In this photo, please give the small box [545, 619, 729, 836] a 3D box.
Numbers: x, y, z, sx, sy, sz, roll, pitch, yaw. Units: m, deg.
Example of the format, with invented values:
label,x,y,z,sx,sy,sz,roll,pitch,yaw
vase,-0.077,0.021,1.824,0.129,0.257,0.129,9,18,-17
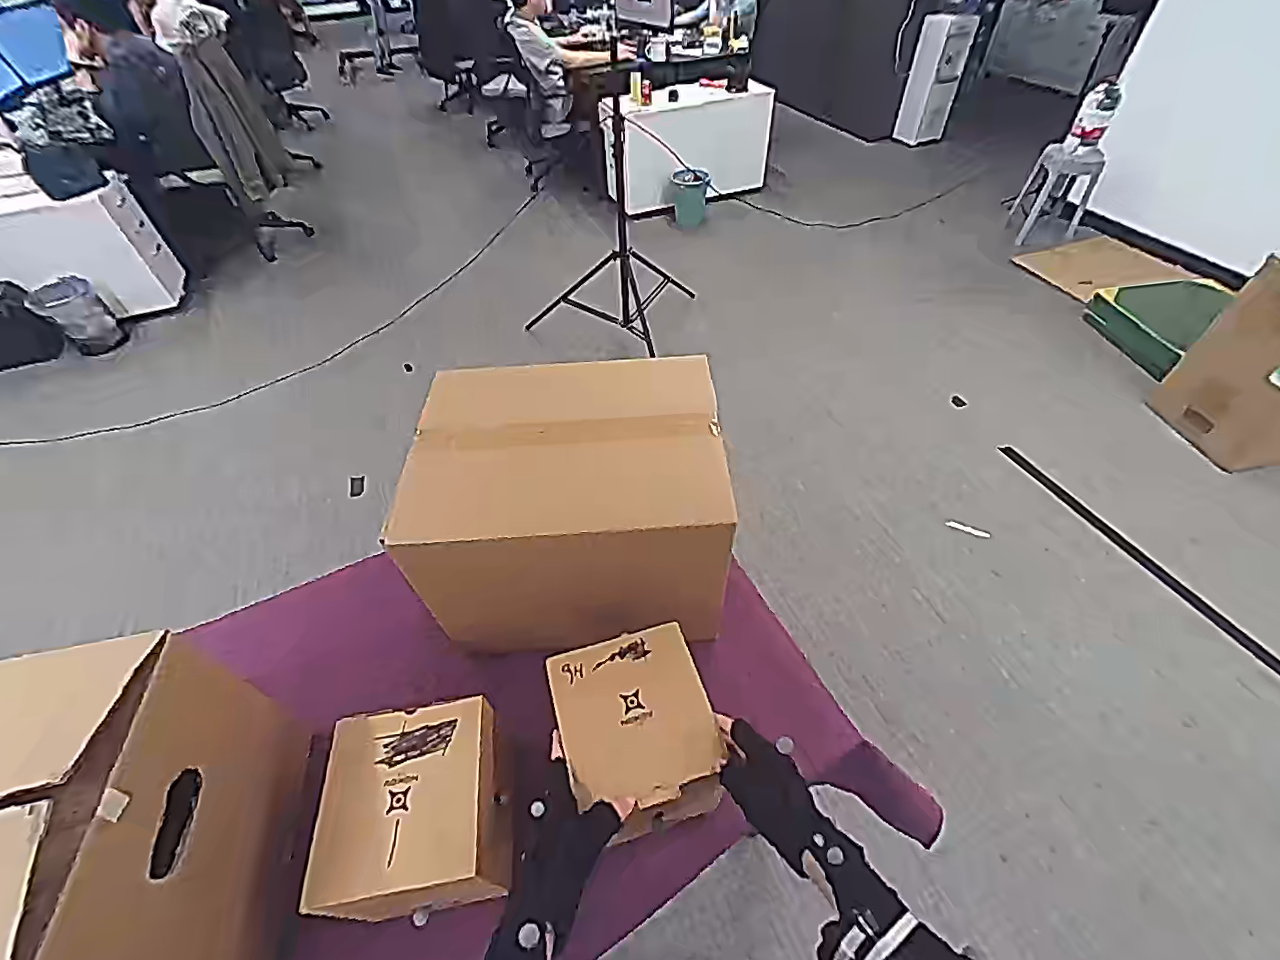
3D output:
label,x,y,z,sx,sy,sz,roll,pitch,yaw
small box,-0.008,0.300,0.646,0.168,0.176,0.179,-13,49,-11
